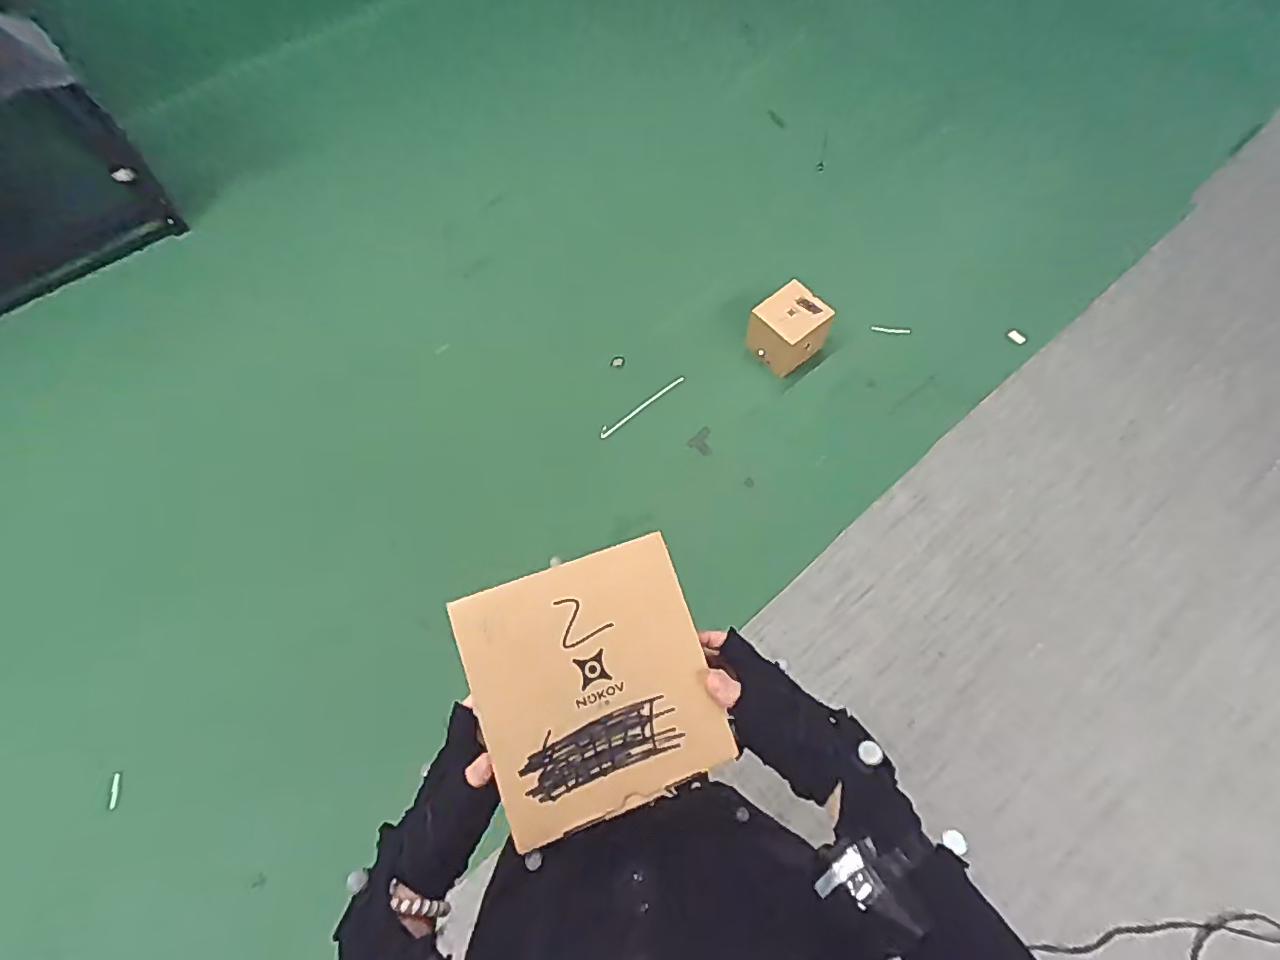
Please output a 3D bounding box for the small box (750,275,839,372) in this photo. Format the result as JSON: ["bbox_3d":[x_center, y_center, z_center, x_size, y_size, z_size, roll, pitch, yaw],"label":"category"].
[{"bbox_3d":[0.446,-0.456,1.590,0.179,0.176,0.168,-37,71,-11],"label":"small box"}]
